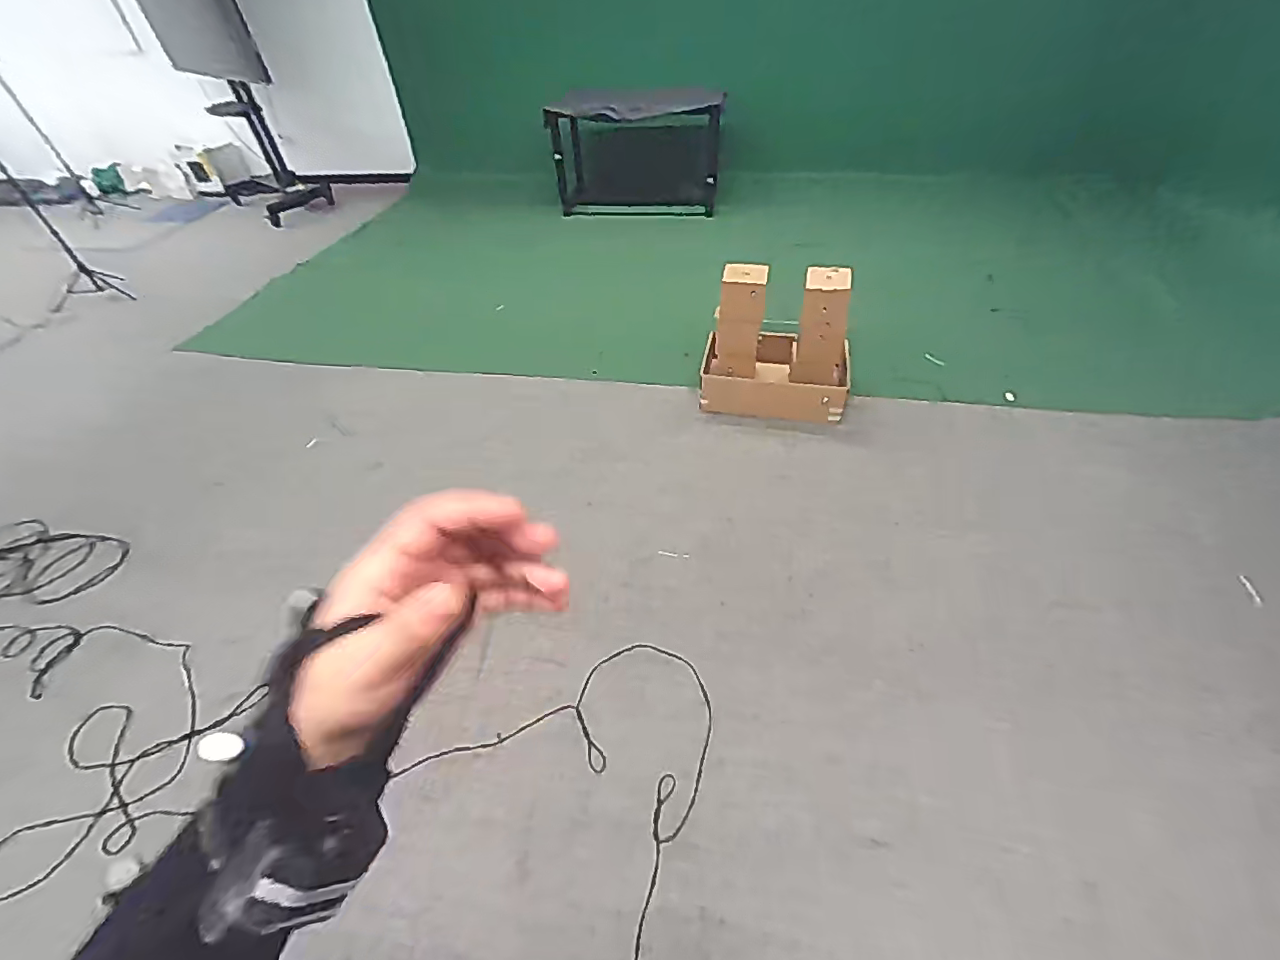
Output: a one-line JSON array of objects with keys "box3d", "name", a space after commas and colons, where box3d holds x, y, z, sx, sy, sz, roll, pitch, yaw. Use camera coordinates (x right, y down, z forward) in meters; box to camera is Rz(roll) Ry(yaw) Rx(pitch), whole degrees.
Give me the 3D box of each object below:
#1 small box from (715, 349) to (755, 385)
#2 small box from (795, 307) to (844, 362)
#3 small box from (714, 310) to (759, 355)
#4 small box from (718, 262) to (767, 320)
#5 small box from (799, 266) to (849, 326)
[{"box3d": [0.433, -0.549, 2.454, 0.168, 0.176, 0.179, 7, 47, 10], "name": "small box"}, {"box3d": [0.743, -0.608, 2.256, 0.179, 0.176, 0.168, 5, 48, 11], "name": "small box"}, {"box3d": [0.417, -0.657, 2.331, 0.179, 0.176, 0.168, 8, 47, 10], "name": "small box"}, {"box3d": [0.418, -0.770, 2.209, 0.179, 0.176, 0.168, 7, 46, 11], "name": "small box"}, {"box3d": [0.728, -0.729, 2.146, 0.168, 0.176, 0.179, 8, 49, 14], "name": "small box"}]
